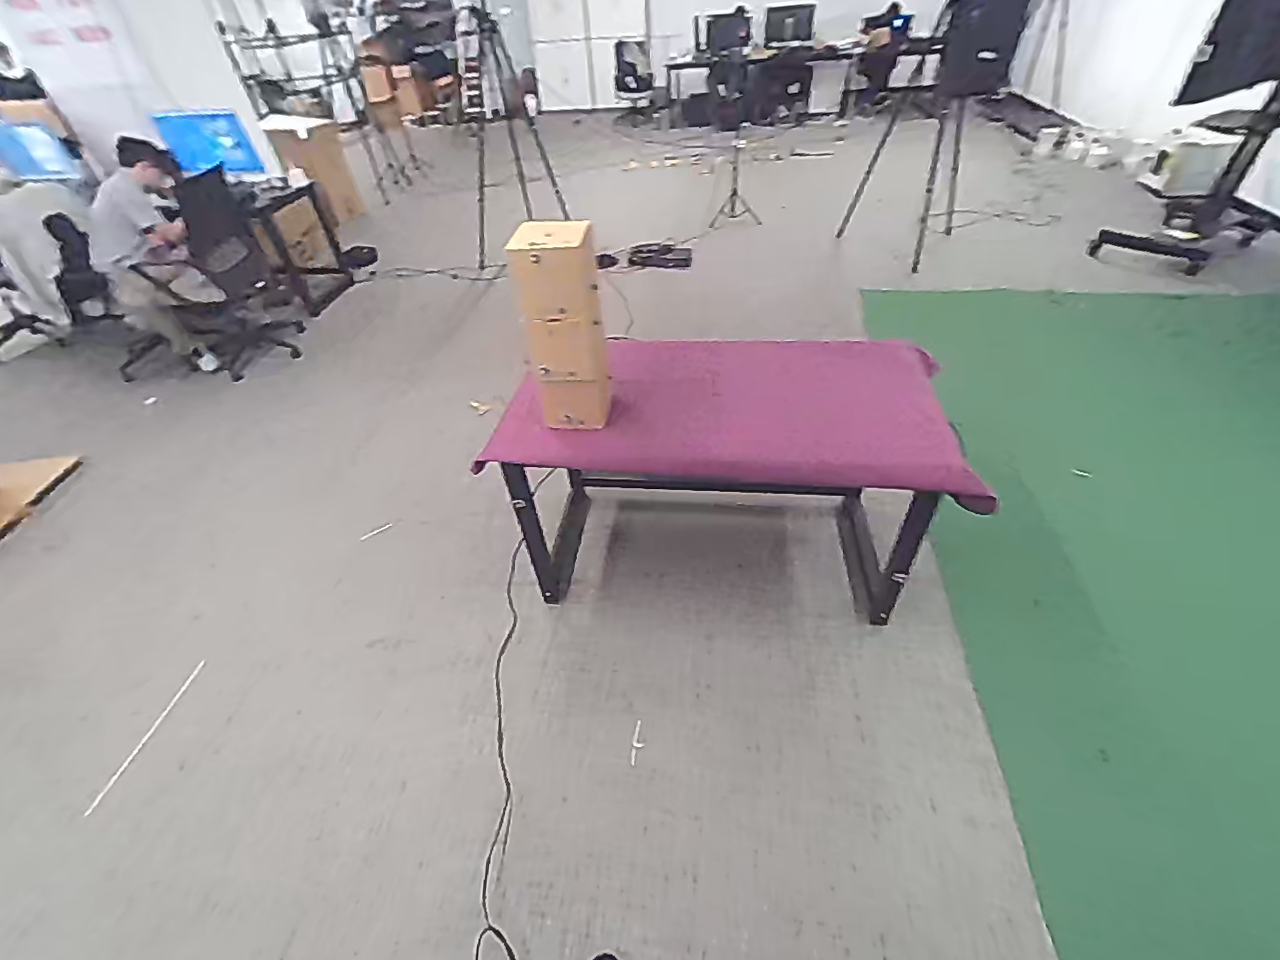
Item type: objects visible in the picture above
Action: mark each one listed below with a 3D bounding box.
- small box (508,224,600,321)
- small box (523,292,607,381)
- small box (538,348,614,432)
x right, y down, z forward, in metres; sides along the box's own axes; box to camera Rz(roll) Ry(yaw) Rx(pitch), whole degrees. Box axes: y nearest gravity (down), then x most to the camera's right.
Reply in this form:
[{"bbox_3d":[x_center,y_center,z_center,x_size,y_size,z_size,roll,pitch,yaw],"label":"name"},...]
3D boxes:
[{"bbox_3d":[-0.194,-0.492,1.282,0.168,0.176,0.179,0,42,8],"label":"small box"},{"bbox_3d":[-0.182,-0.367,1.388,0.168,0.176,0.179,1,42,8],"label":"small box"},{"bbox_3d":[-0.170,-0.253,1.504,0.168,0.176,0.179,1,44,8],"label":"small box"}]
